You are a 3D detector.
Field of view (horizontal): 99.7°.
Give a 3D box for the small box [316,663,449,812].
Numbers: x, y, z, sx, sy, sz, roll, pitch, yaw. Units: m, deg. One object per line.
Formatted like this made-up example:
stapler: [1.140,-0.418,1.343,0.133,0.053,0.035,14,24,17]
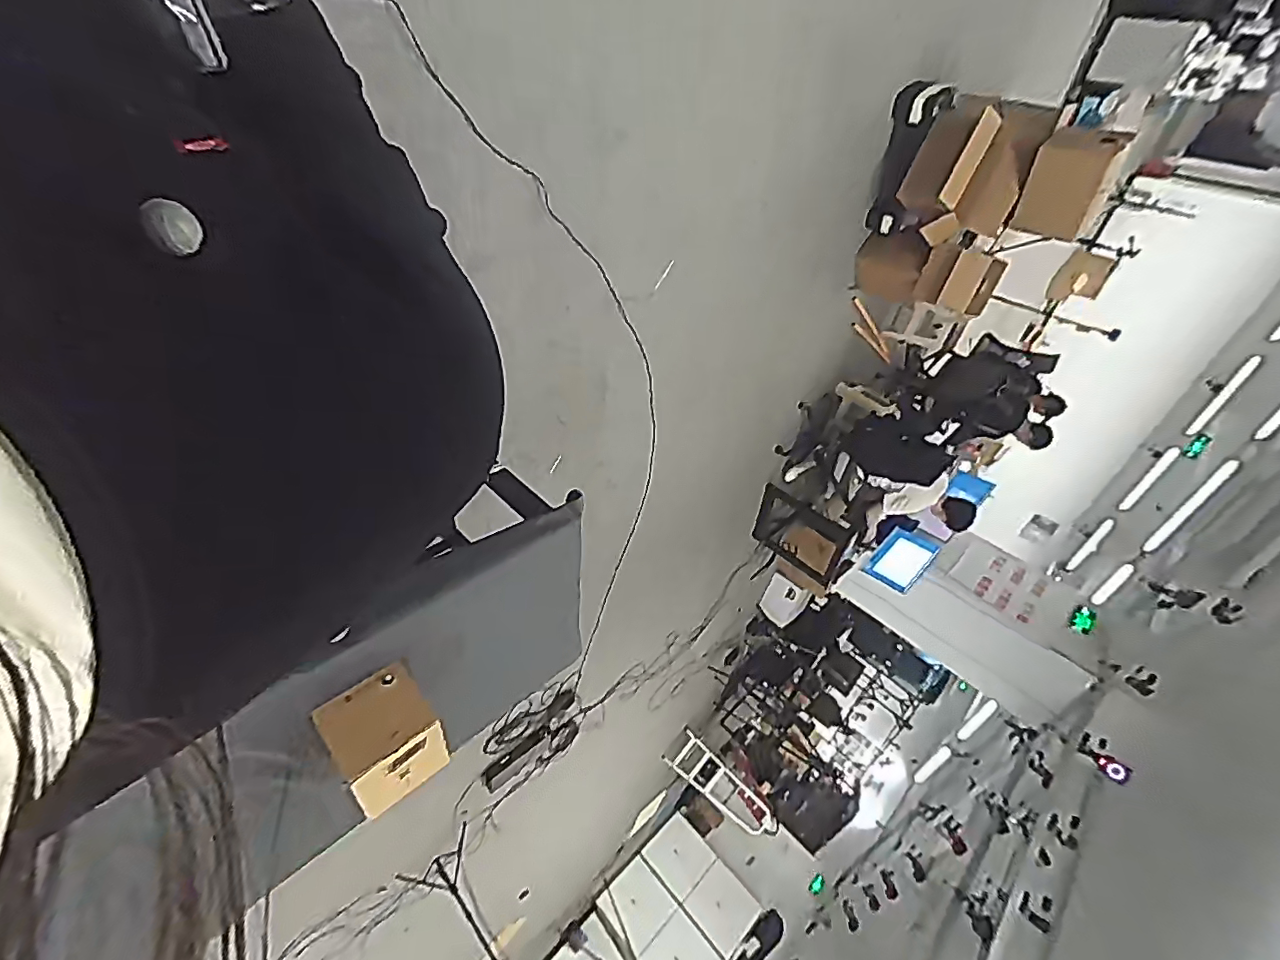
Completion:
small box: [-0.496,0.488,1.048,0.168,0.176,0.179,-29,143,-36]
